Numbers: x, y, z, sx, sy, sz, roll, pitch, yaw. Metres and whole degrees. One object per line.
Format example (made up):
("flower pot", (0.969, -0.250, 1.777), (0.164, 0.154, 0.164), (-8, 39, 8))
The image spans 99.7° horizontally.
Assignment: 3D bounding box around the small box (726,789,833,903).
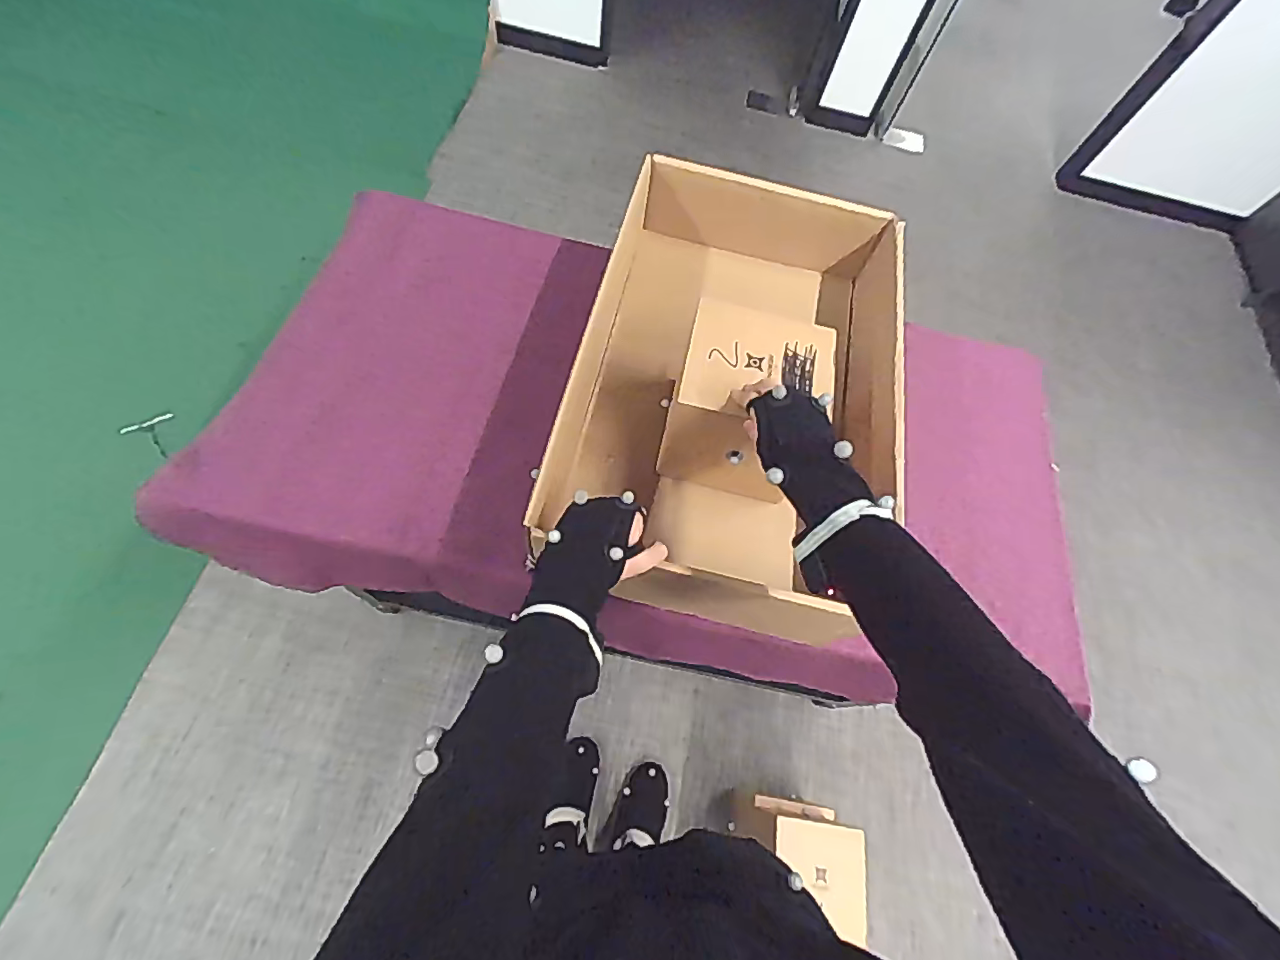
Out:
("small box", (0.299, 0.784, 1.176), (0.179, 0.176, 0.168), (12, 64, -1))
